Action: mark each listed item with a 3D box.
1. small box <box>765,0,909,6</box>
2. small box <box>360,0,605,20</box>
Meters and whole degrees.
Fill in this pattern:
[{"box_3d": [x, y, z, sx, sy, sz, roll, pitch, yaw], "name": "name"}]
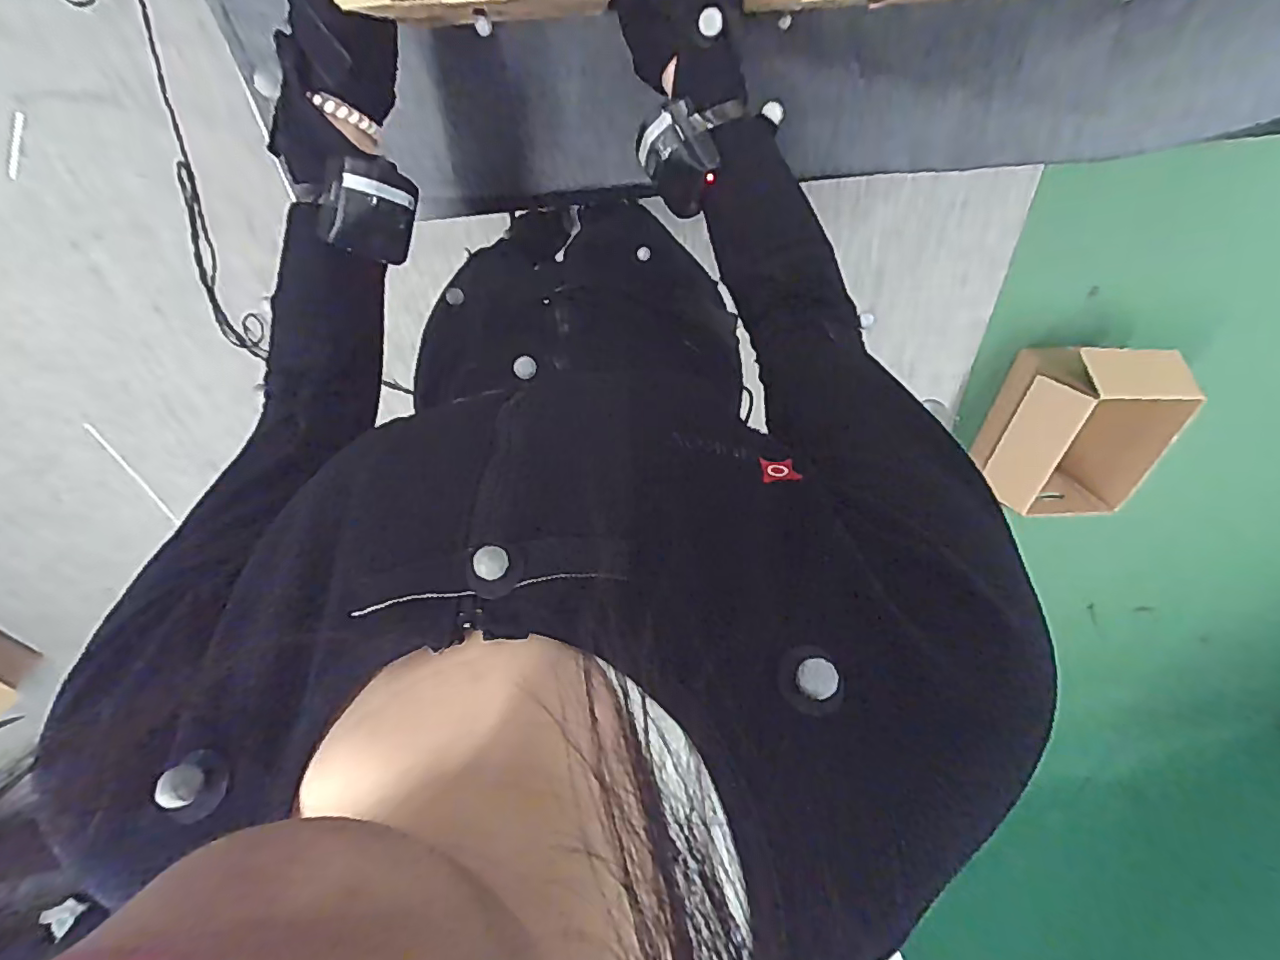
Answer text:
[{"box_3d": [0.179, -0.452, 0.379, 0.168, 0.176, 0.179, -6, 129, -2], "name": "small box"}, {"box_3d": [-0.104, -0.401, 0.326, 0.168, 0.176, 0.179, -7, 129, -3], "name": "small box"}]
